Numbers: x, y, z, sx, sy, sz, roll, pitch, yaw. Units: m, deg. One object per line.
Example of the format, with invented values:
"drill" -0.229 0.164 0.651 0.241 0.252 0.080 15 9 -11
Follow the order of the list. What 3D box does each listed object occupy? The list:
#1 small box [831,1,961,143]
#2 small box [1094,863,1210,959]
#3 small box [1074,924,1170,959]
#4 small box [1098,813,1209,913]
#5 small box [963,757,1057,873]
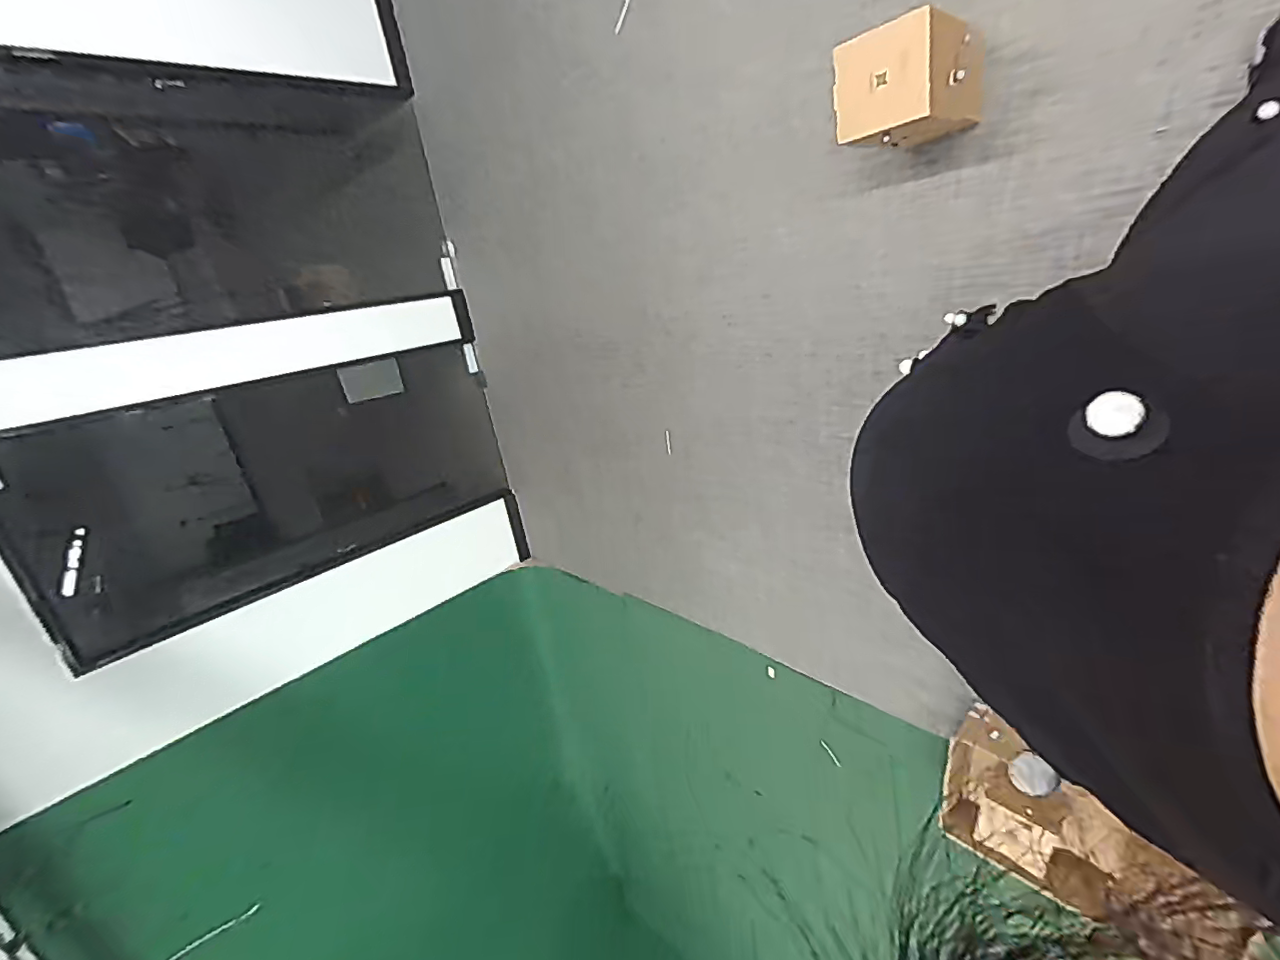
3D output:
"small box" 0.493 -0.769 1.044 0.179 0.176 0.168 10 118 45
"small box" 1.119 1.006 1.189 0.168 0.176 0.179 15 120 45
"small box" 1.000 1.052 1.088 0.168 0.176 0.179 37 134 32
"small box" 1.233 0.961 1.299 0.168 0.176 0.179 12 118 45
"small box" 1.035 0.927 1.511 0.168 0.176 0.179 19 123 41
